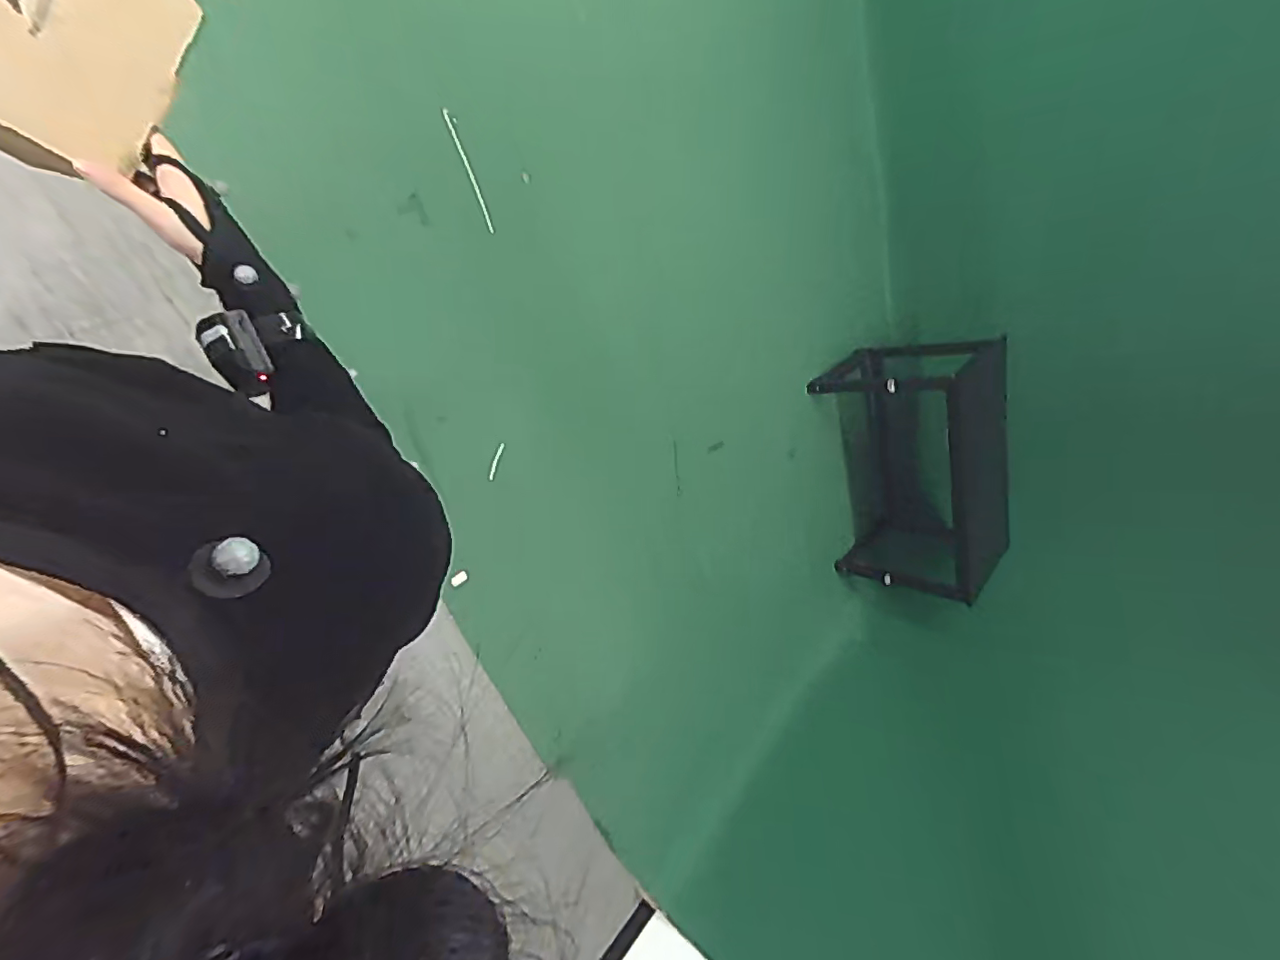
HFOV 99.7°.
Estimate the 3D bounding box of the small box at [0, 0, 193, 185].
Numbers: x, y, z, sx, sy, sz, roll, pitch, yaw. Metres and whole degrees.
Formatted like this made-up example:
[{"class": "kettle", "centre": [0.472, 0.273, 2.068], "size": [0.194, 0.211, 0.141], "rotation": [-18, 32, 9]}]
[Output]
[{"class": "small box", "centre": [-0.484, -0.348, 0.378], "size": [0.168, 0.176, 0.179], "rotation": [-69, 160, -1]}]
